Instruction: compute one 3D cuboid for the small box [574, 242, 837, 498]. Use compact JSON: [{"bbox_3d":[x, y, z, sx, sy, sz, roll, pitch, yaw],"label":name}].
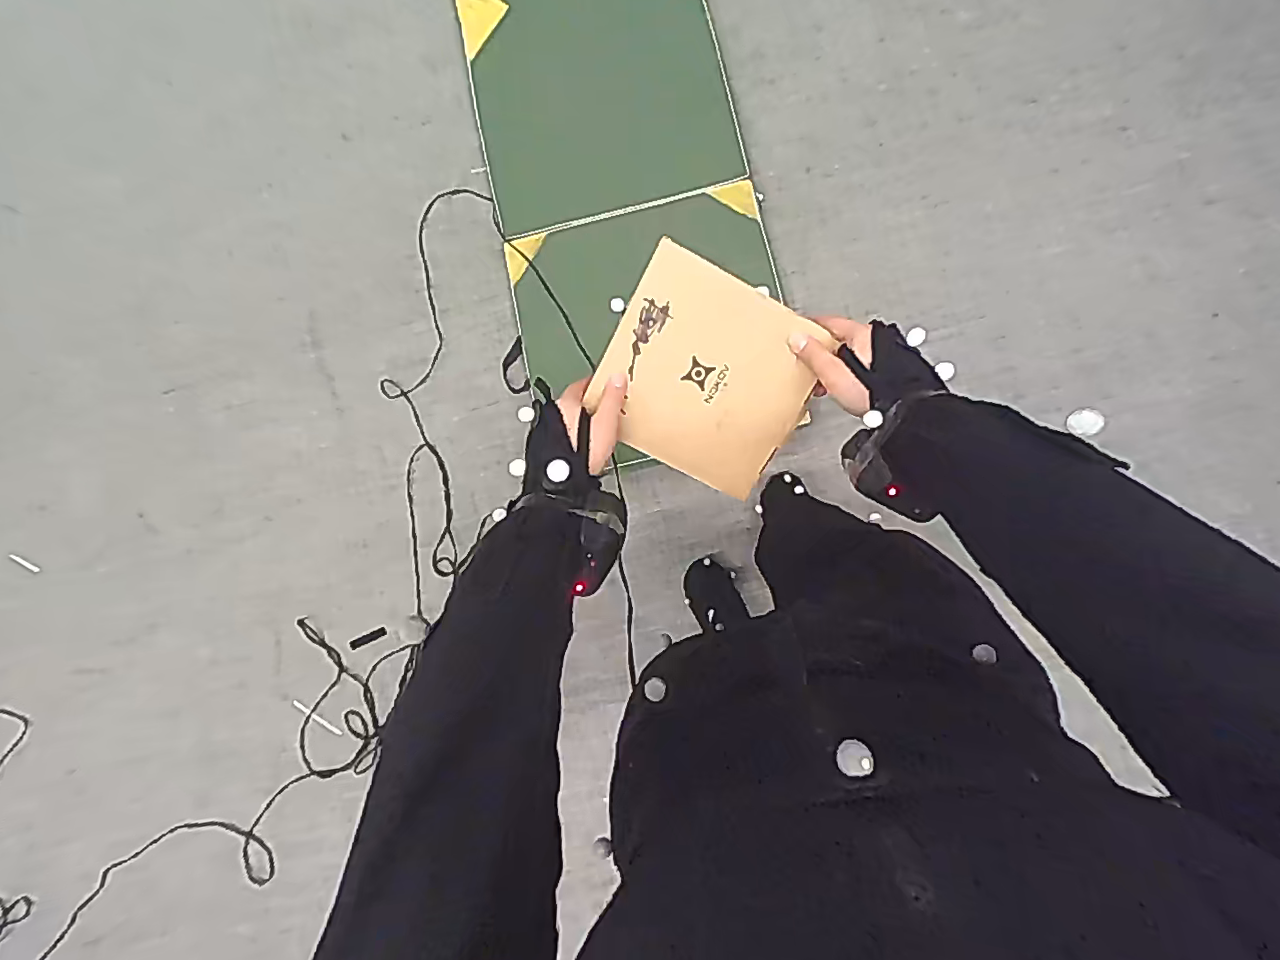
[{"bbox_3d":[0.055,-0.113,0.542,0.179,0.176,0.168,27,106,-8],"label":"small box"}]
